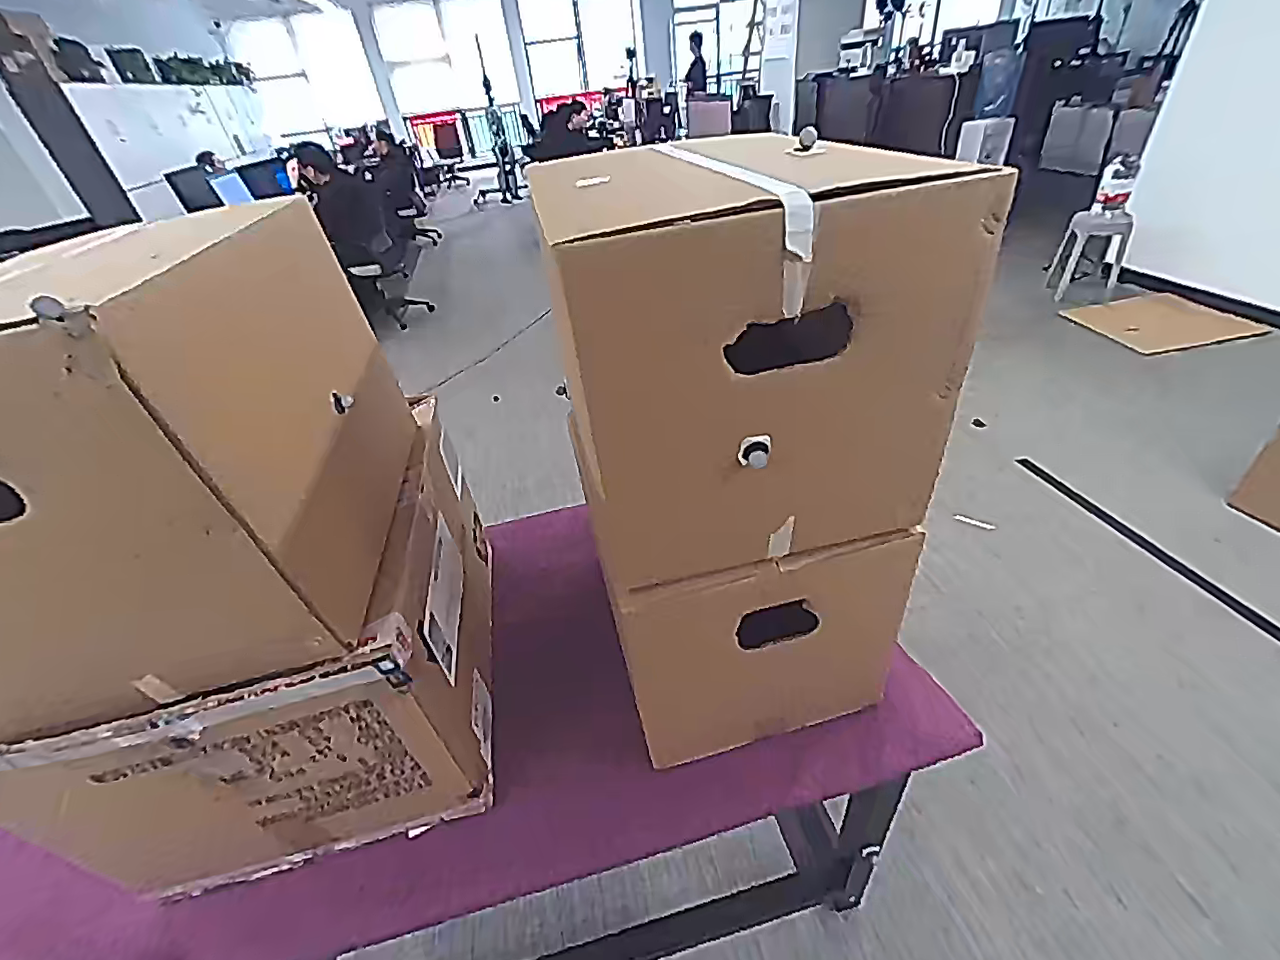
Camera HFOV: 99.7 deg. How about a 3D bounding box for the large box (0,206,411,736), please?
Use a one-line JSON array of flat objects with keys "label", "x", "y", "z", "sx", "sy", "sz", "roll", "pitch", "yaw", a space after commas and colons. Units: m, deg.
[{"label": "large box", "x": -0.457, "y": -0.043, "z": 0.538, "sx": 0.320, "sy": 0.320, "sz": 0.408, "roll": -16, "pitch": 38, "yaw": -3}]
